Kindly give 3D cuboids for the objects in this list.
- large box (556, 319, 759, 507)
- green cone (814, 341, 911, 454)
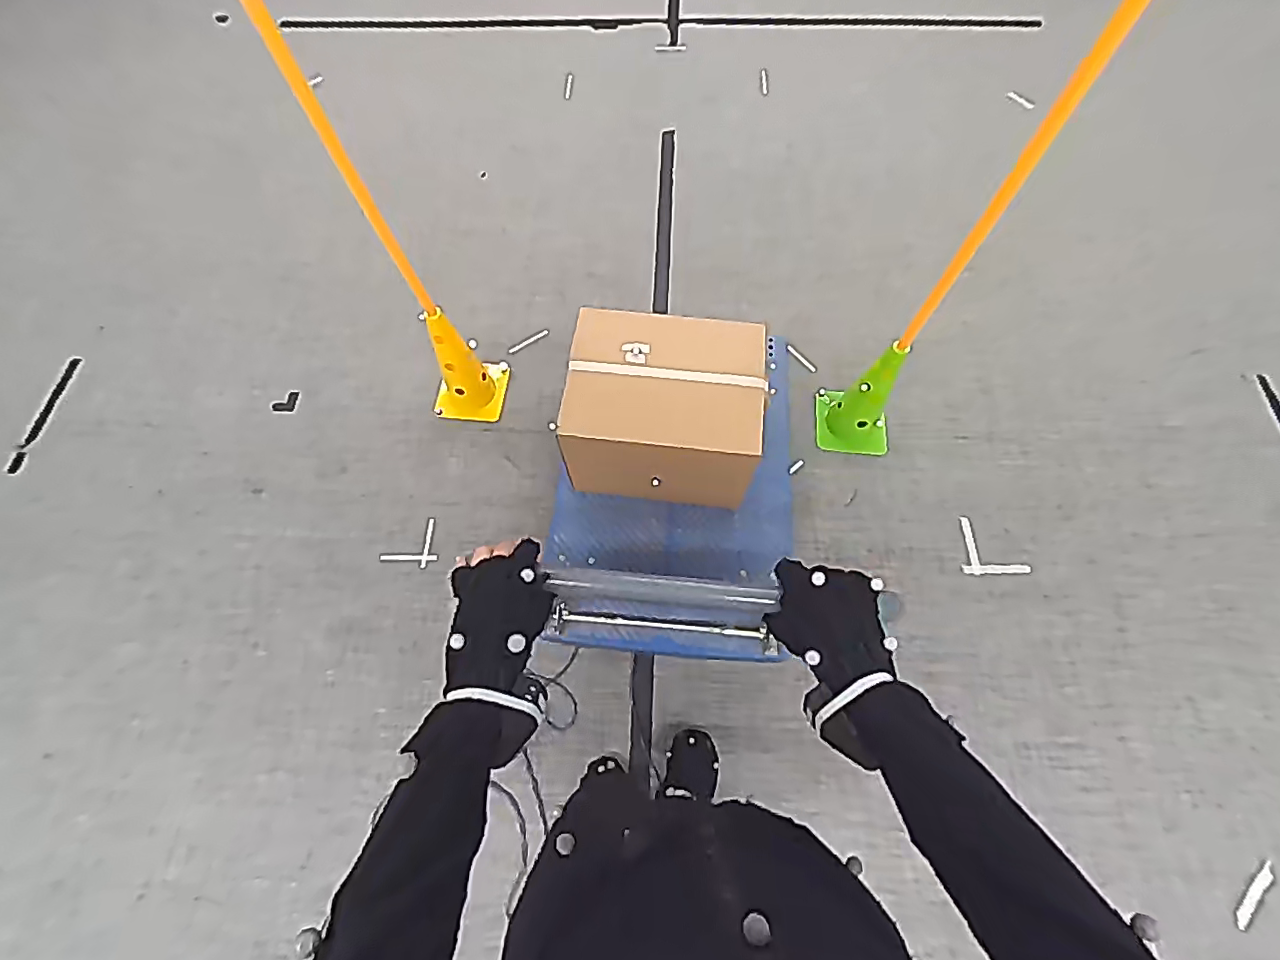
[{"bbox_3d":[0.051,-0.141,1.254,0.408,0.320,0.320,6,68,4],"label":"large box"},{"bbox_3d":[0.616,-0.240,1.439,0.202,0.368,0.200,6,67,2],"label":"green cone"}]
